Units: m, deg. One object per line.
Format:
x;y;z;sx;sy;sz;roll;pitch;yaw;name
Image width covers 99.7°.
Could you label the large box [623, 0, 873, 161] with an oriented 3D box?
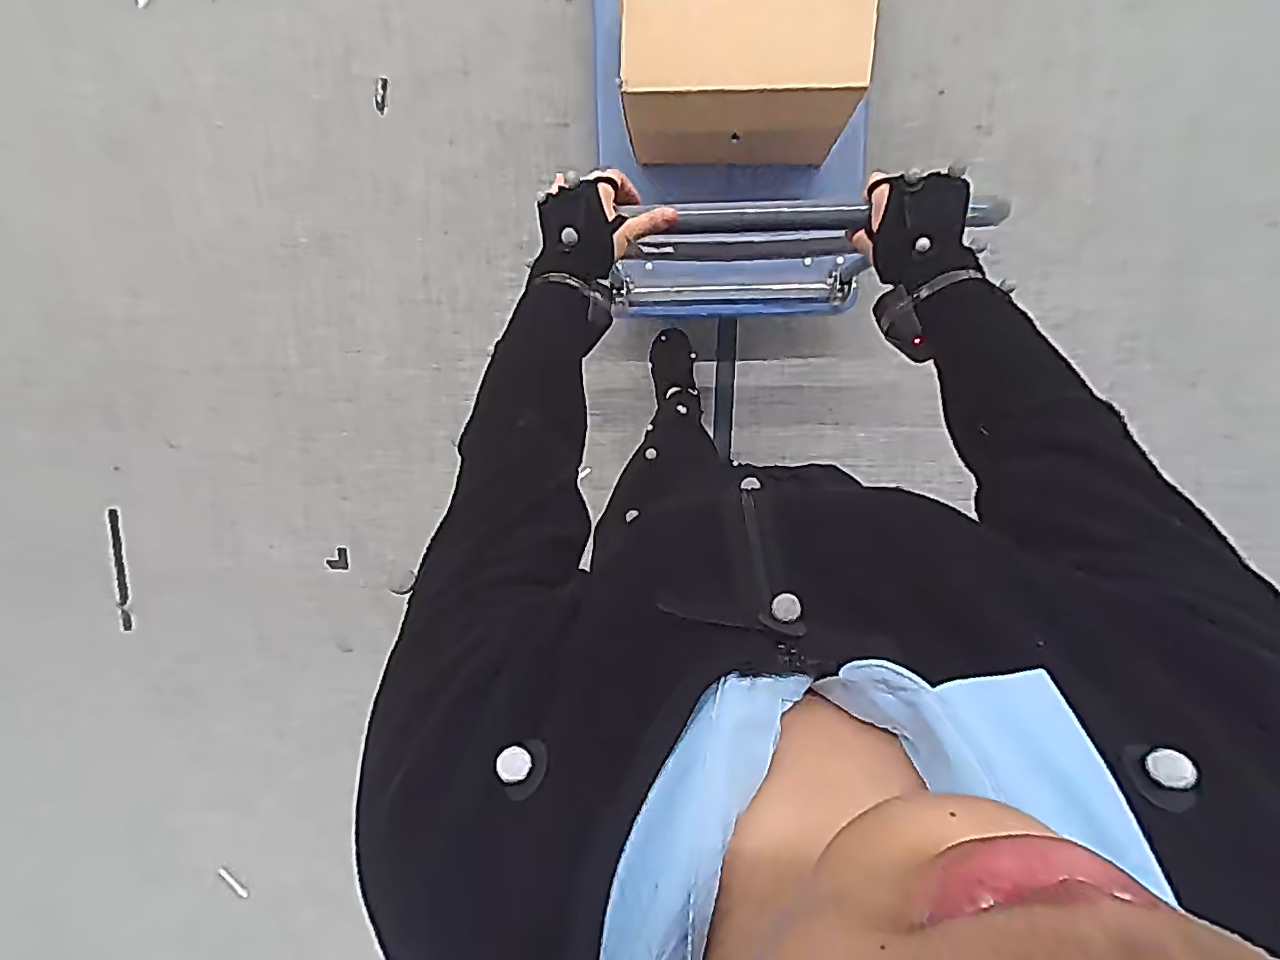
0.187;-0.824;1.012;0.408;0.320;0.320;2;99;5;large box
